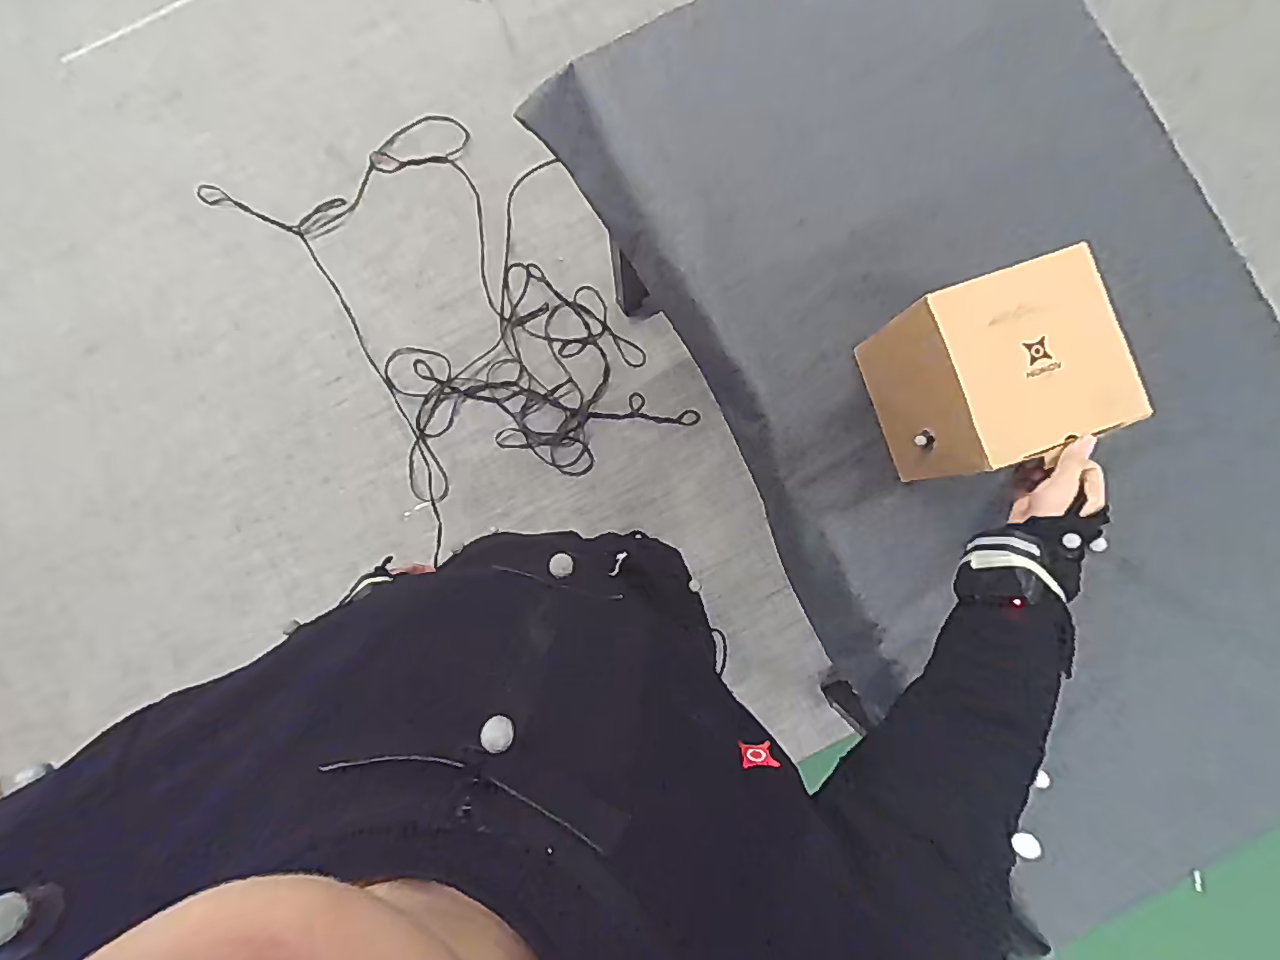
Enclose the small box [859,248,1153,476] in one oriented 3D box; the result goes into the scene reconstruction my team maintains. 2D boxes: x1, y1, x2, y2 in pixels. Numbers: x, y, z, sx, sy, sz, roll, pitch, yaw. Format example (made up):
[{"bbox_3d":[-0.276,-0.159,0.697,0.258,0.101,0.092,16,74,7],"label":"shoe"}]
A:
[{"bbox_3d":[0.369,-0.108,0.580,0.168,0.176,0.179,-19,86,-3],"label":"small box"}]
